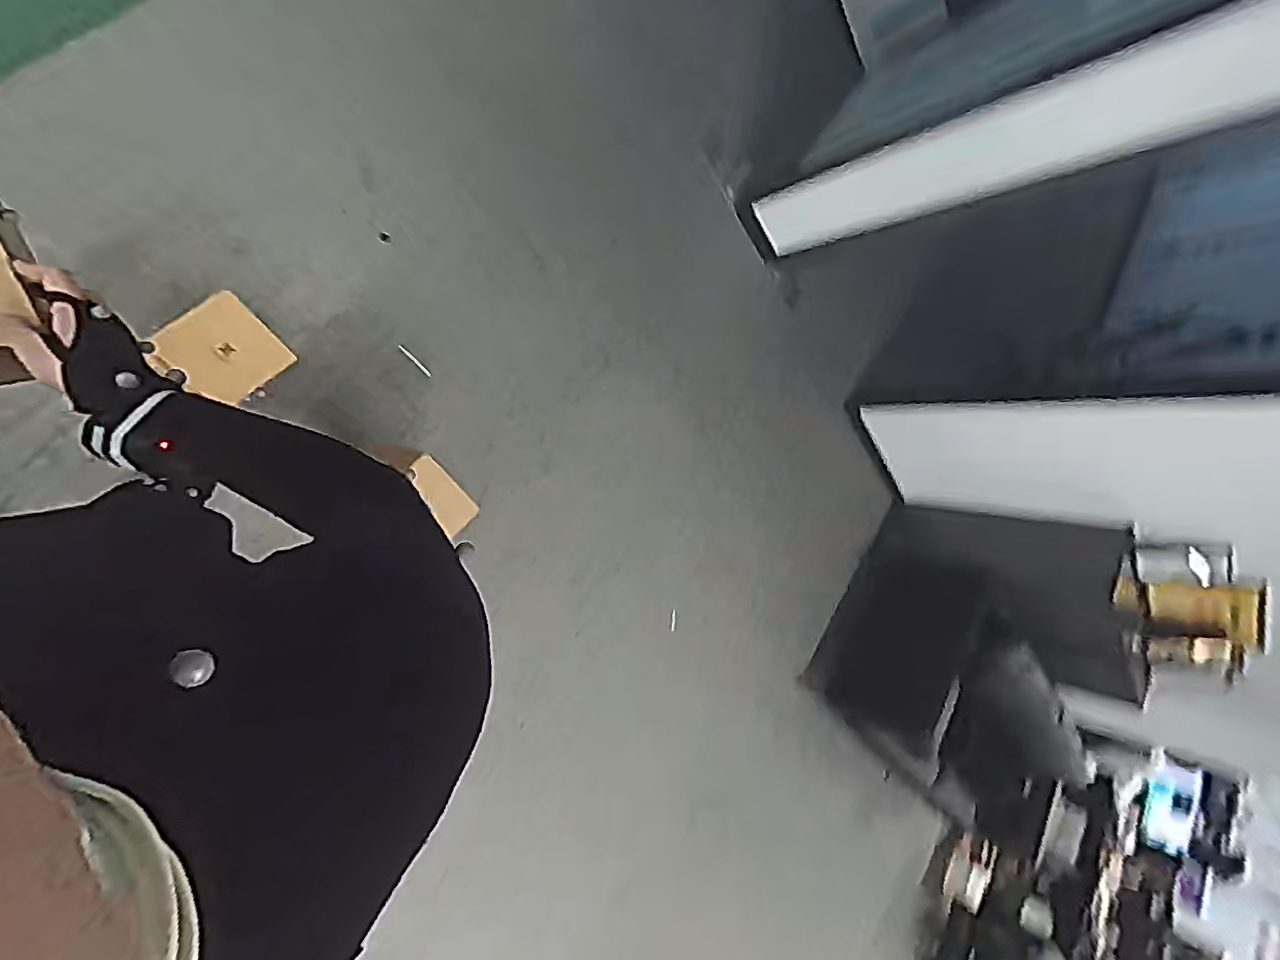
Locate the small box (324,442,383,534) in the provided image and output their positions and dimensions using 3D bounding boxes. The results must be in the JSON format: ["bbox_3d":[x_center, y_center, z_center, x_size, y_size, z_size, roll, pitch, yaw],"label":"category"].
[{"bbox_3d":[-0.710,0.016,1.442,0.179,0.176,0.168,-52,123,-21],"label":"small box"}]

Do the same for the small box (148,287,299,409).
[{"bbox_3d":[-0.841,-0.262,1.098,0.179,0.176,0.168,-50,122,-22],"label":"small box"}]

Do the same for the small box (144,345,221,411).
[{"bbox_3d":[-0.963,-0.272,1.229,0.179,0.176,0.168,-50,123,-23],"label":"small box"}]

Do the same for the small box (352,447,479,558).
[{"bbox_3d":[-0.499,0.044,1.192,0.168,0.176,0.179,-48,121,-23],"label":"small box"}]
